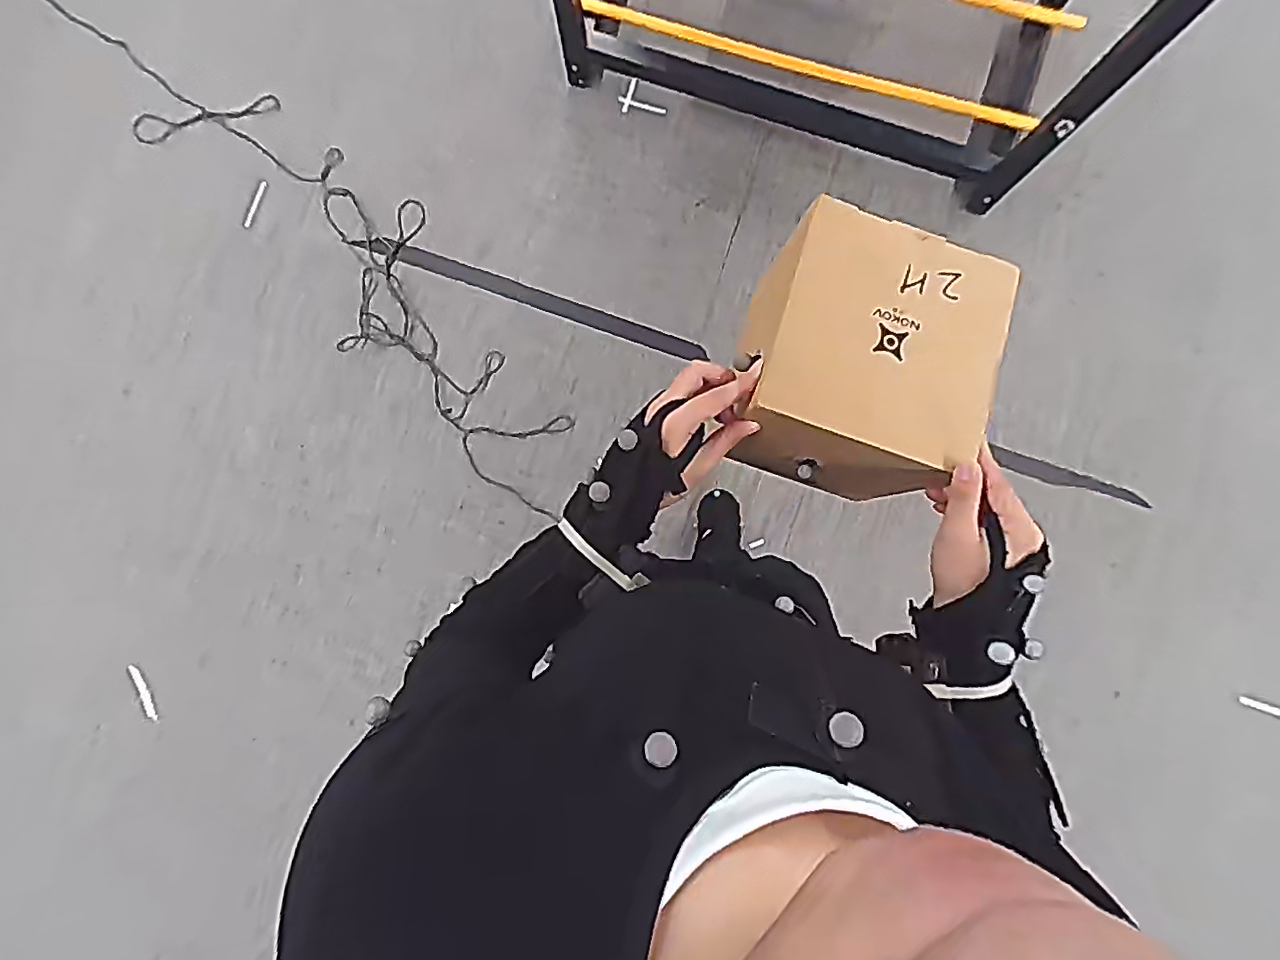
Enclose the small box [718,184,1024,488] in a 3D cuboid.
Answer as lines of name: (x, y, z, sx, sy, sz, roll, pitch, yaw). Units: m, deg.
small box: (0.178, -0.102, 0.468, 0.168, 0.176, 0.179, 18, 81, -3)
